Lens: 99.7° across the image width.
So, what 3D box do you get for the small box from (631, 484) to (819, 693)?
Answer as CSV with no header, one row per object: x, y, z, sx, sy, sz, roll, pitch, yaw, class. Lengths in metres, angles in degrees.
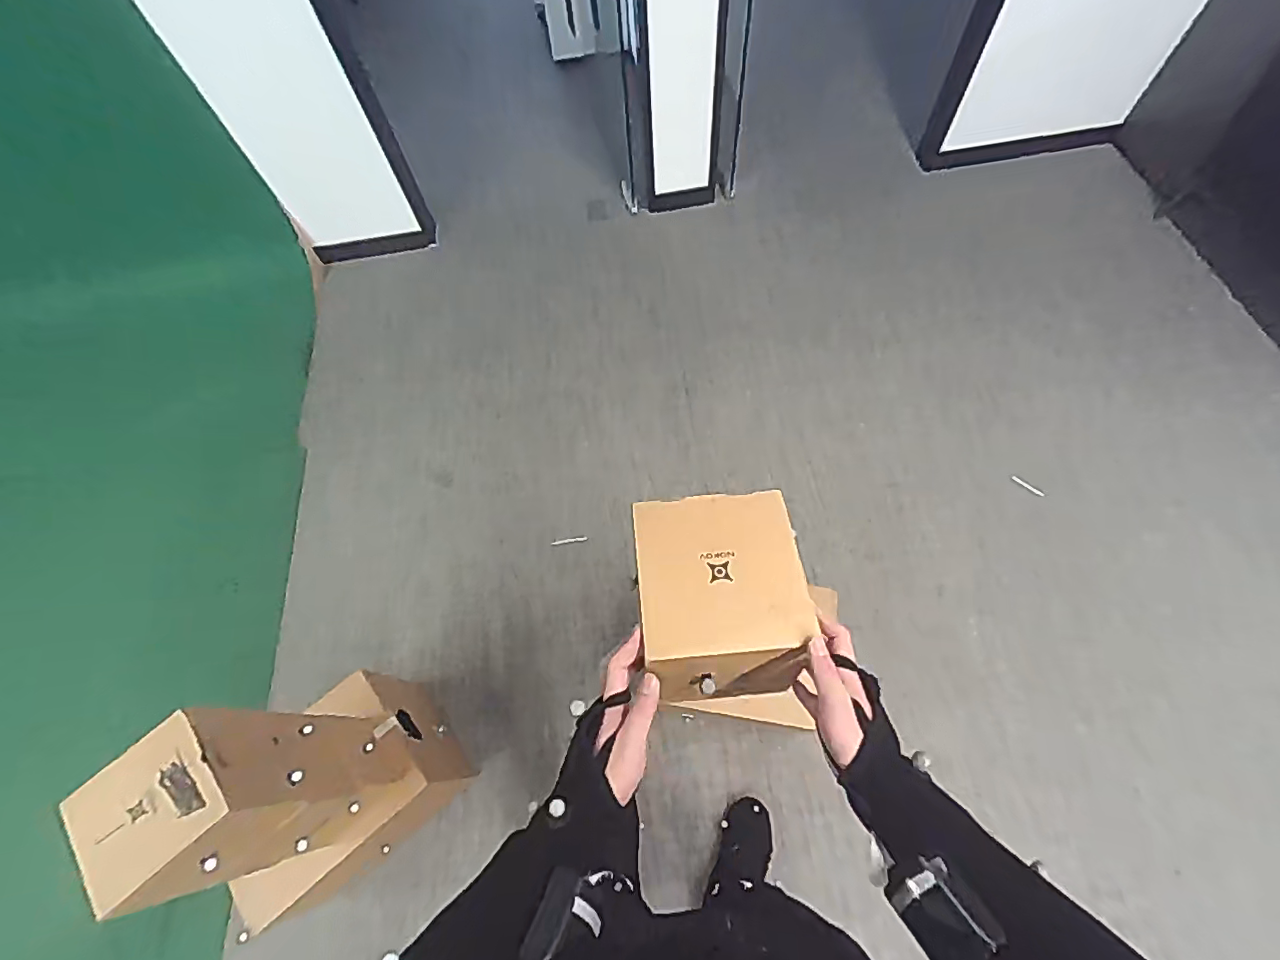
0.081,0.127,0.598,0.168,0.176,0.179,-5,55,-1,small box

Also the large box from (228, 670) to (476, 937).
-0.673,0.716,1.268,0.408,0.320,0.320,-39,66,-14,large box

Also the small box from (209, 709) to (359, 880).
-0.617,0.515,0.907,0.168,0.176,0.179,-38,68,-13,small box

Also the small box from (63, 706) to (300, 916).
-0.621,0.444,0.760,0.179,0.176,0.168,-40,68,-13,small box

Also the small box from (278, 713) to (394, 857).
-0.613,0.583,1.055,0.179,0.176,0.168,-40,68,-15,small box
